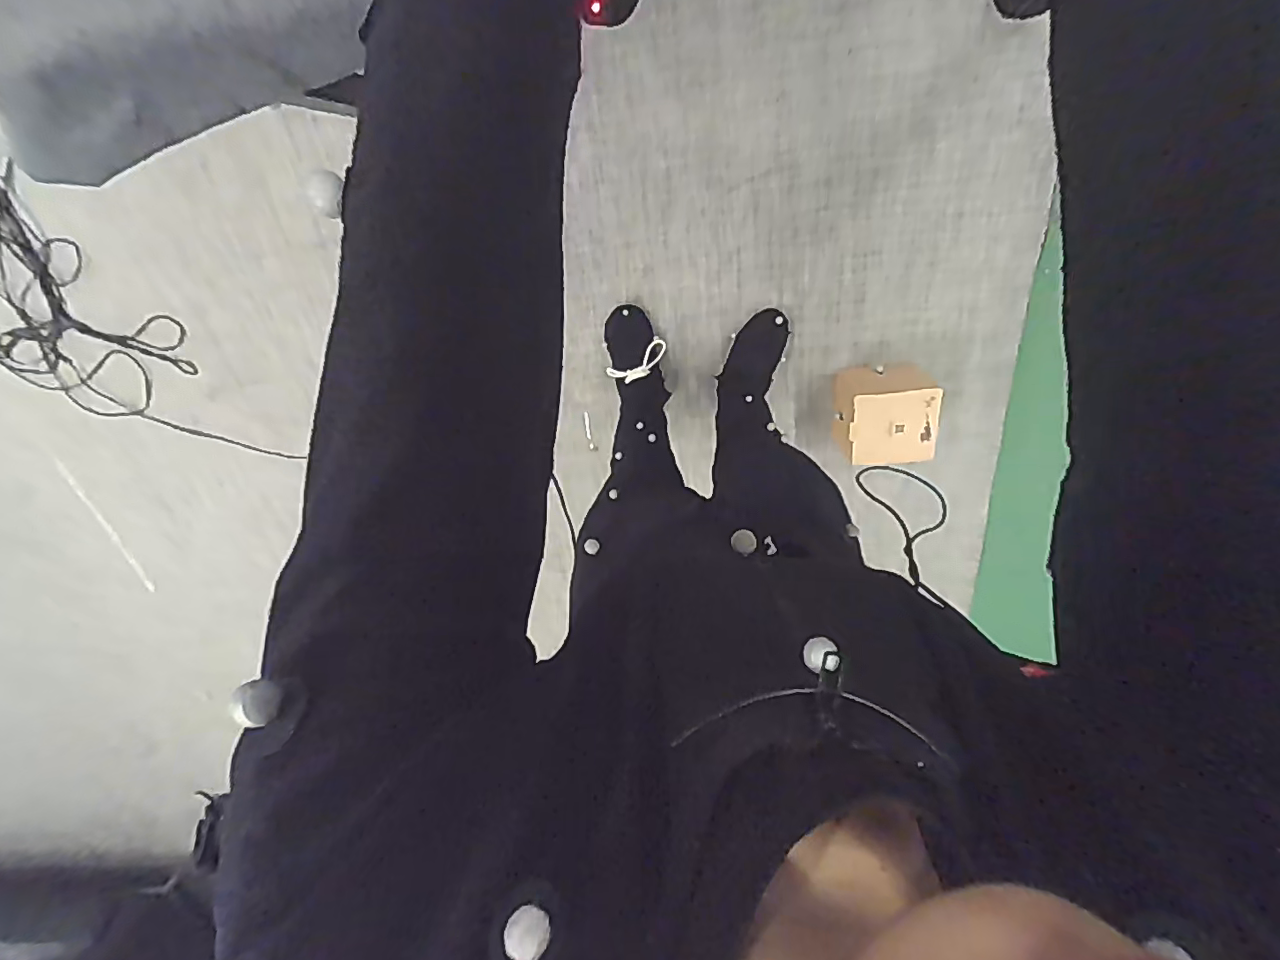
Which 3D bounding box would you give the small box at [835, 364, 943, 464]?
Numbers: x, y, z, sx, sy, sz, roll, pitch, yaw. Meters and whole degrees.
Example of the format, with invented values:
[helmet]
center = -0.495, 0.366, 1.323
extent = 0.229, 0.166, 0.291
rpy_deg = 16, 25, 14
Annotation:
[small box]
center = 0.538, -0.149, 1.197
extent = 0.179, 0.176, 0.168
rpy_deg = -4, 118, 8
